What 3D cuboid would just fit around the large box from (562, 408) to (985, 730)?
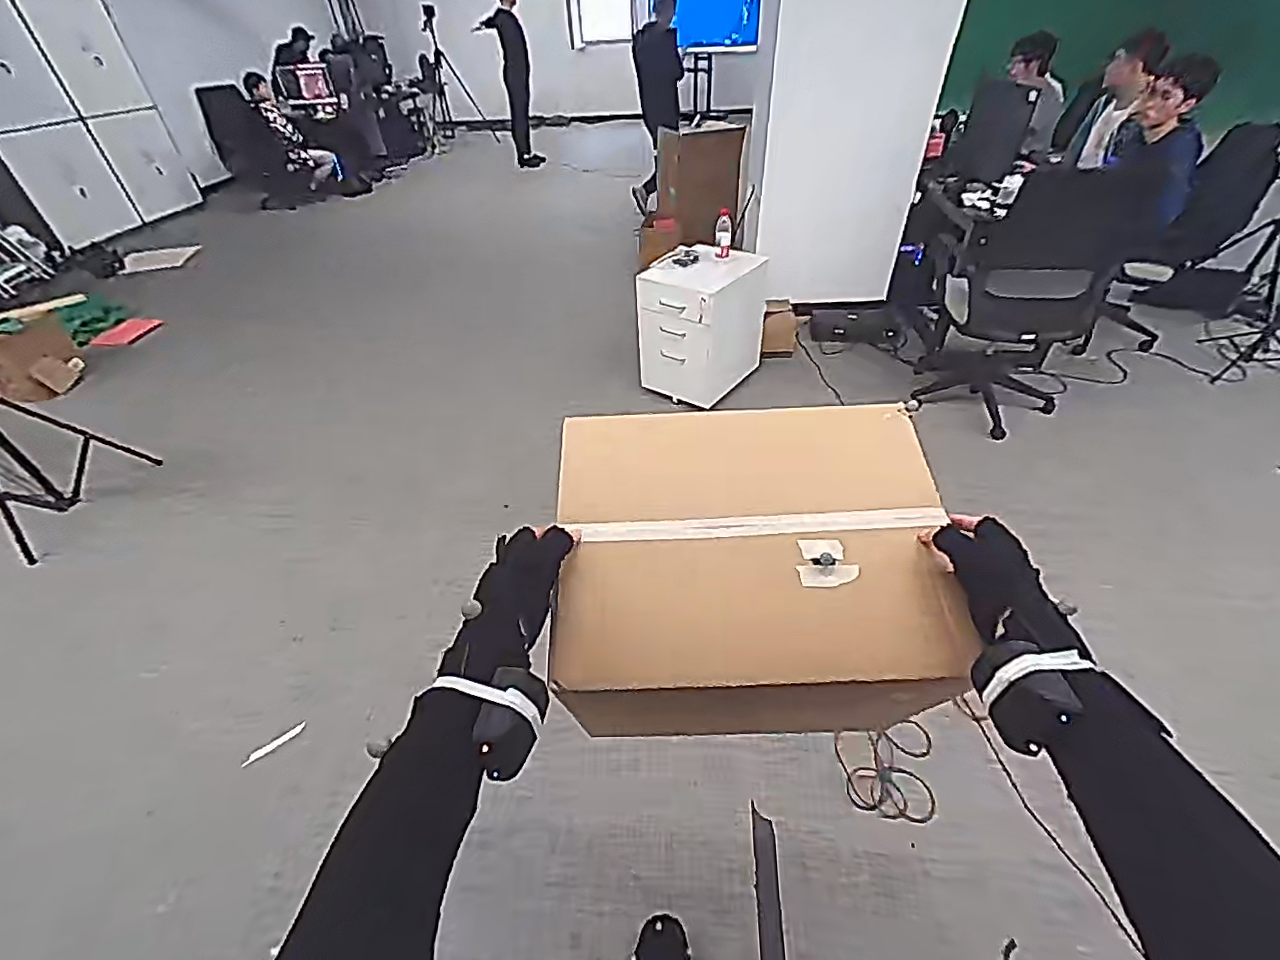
[{"bbox_3d":[0.122,0.129,0.705,0.408,0.320,0.320,-2,58,1],"label":"large box"}]
